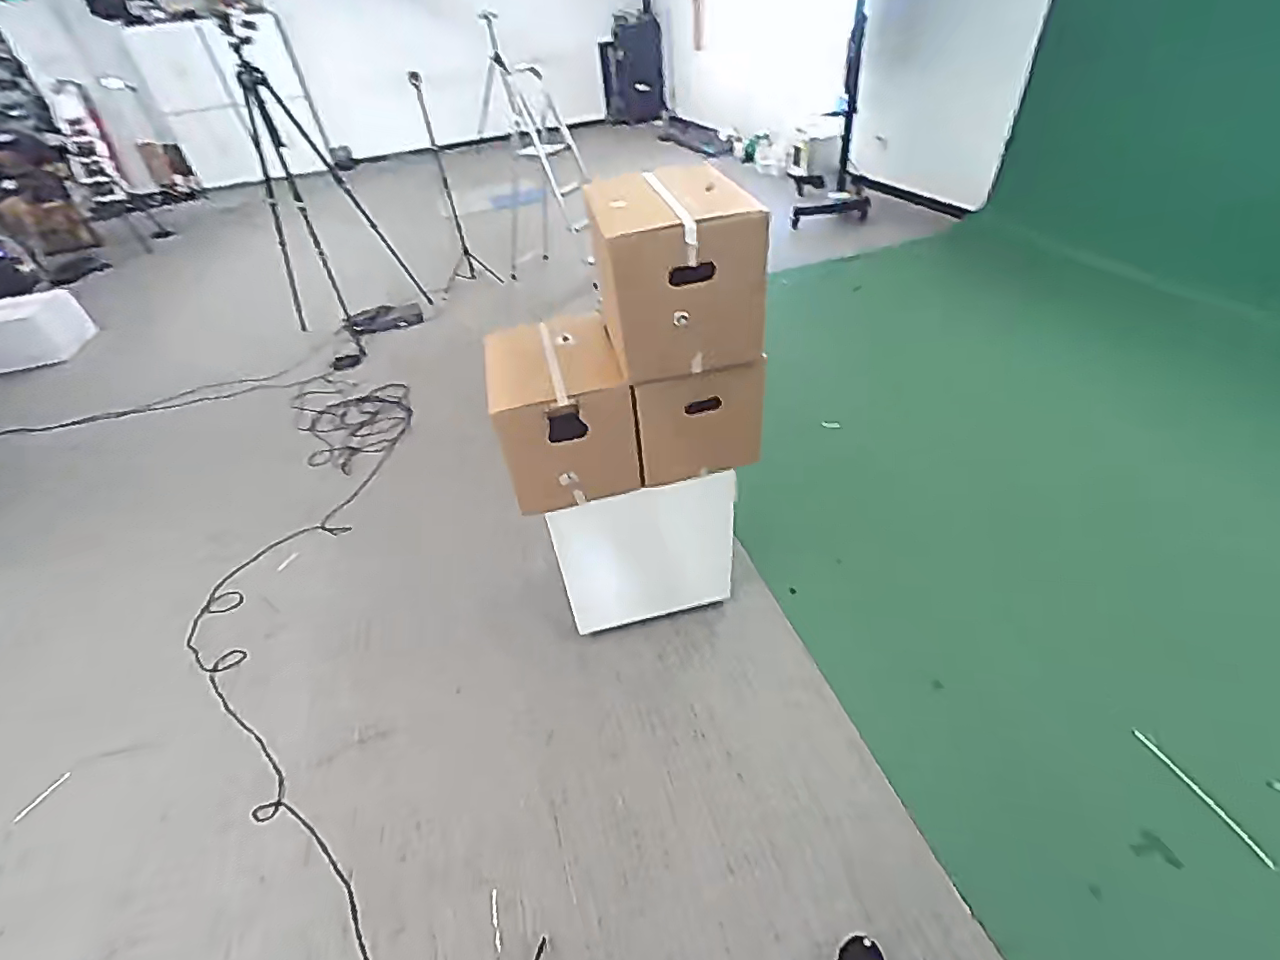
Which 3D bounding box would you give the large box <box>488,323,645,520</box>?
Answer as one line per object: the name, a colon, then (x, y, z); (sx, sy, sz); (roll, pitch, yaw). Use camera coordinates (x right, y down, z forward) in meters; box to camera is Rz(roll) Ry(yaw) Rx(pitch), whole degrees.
large box: (-0.196, -0.162, 1.410); (0.320, 0.320, 0.408); (-13, 40, -7)
